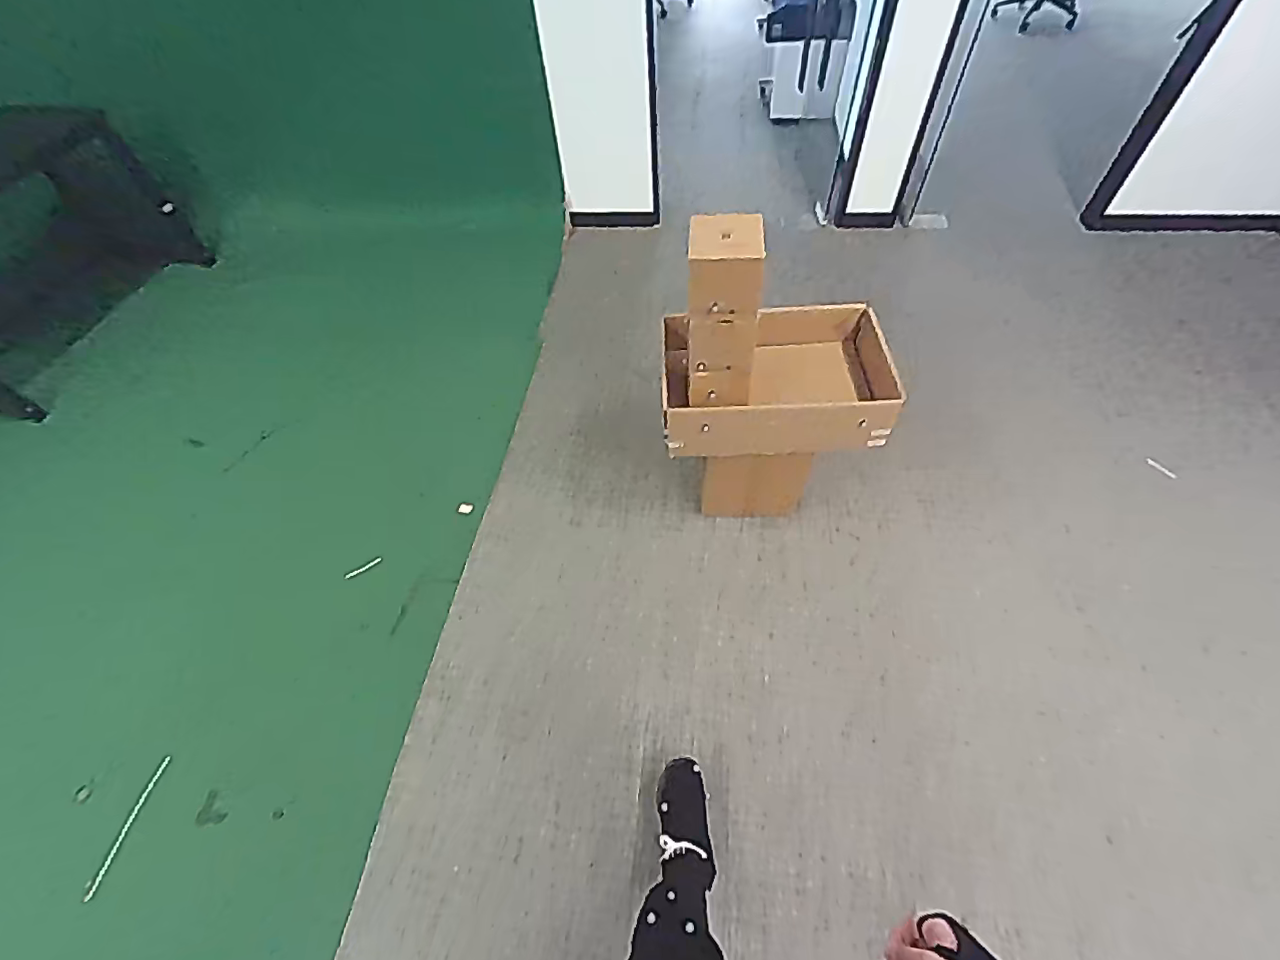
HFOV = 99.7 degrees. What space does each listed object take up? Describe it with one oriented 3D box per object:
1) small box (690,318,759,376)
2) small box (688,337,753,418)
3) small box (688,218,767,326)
[{"bbox_3d":[0.213,-0.383,1.383,0.168,0.176,0.179,2,53,6],"label":"small box"},{"bbox_3d":[0.221,-0.286,1.515,0.168,0.176,0.179,-2,54,3],"label":"small box"},{"bbox_3d":[0.200,-0.482,1.254,0.168,0.176,0.179,3,54,7],"label":"small box"}]
